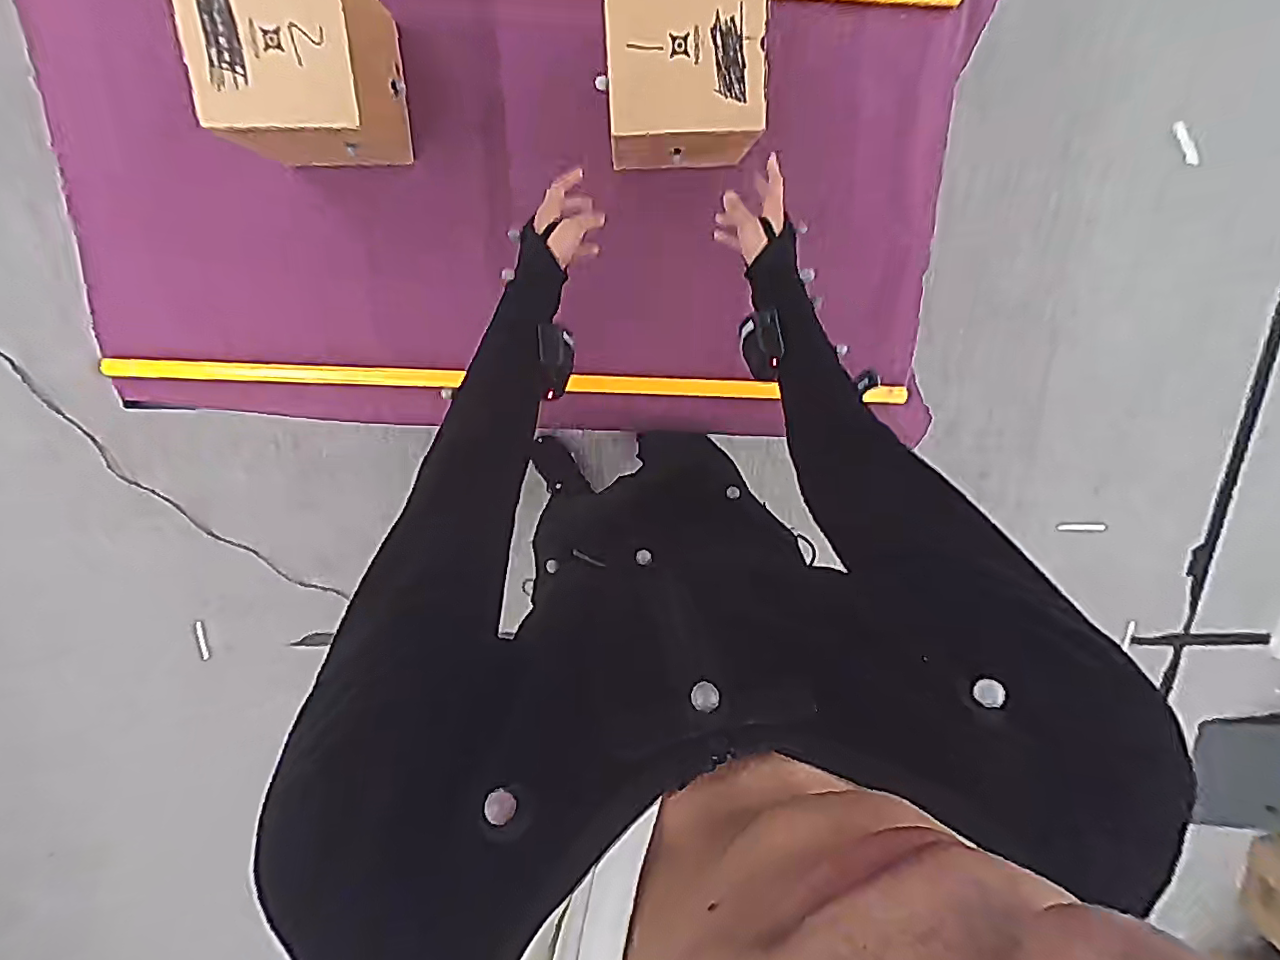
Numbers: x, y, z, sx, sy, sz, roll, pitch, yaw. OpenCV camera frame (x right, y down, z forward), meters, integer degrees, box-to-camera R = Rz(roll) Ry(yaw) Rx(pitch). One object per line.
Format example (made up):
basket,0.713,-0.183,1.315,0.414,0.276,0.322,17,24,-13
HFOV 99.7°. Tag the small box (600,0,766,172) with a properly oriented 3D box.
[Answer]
small box,0.045,-0.484,0.653,0.179,0.176,0.168,-2,108,0
